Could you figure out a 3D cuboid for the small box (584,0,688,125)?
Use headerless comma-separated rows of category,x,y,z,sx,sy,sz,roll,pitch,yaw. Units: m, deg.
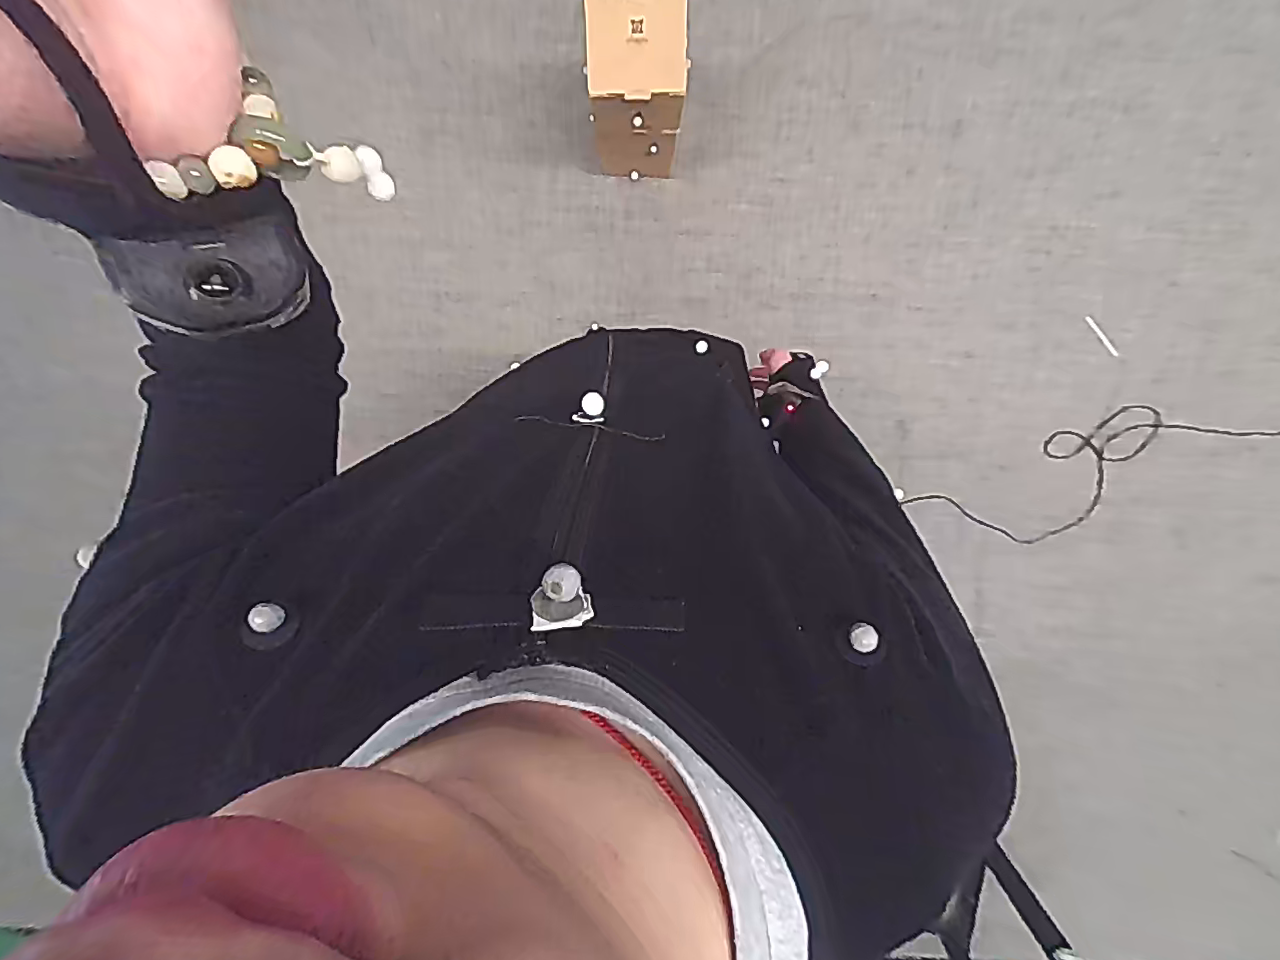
small box,-0.004,-0.738,0.939,0.168,0.176,0.179,-1,106,1

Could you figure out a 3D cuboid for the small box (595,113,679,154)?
small box,-0.003,-0.782,1.097,0.168,0.176,0.179,1,104,0

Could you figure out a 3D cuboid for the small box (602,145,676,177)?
small box,0.001,-0.825,1.253,0.168,0.176,0.179,2,106,1
